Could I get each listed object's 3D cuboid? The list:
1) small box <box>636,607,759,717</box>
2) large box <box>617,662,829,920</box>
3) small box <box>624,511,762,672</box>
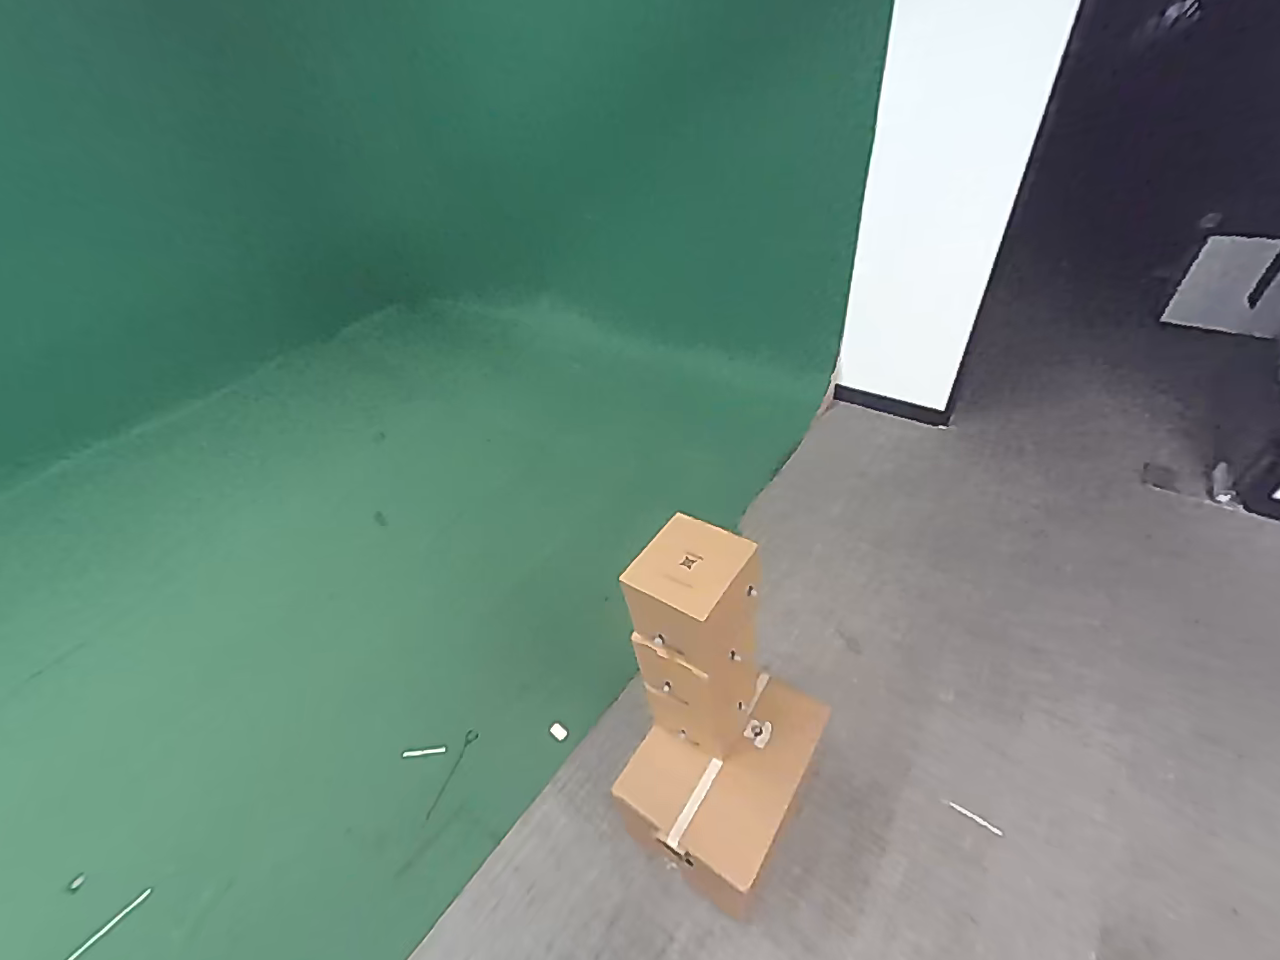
[{"bbox_3d":[0.116,0.315,1.044,0.168,0.176,0.179,20,51,32],"label":"small box"},{"bbox_3d":[0.201,0.674,1.245,0.320,0.320,0.408,22,50,30],"label":"large box"},{"bbox_3d":[0.099,0.191,0.939,0.168,0.176,0.179,21,52,34],"label":"small box"}]
